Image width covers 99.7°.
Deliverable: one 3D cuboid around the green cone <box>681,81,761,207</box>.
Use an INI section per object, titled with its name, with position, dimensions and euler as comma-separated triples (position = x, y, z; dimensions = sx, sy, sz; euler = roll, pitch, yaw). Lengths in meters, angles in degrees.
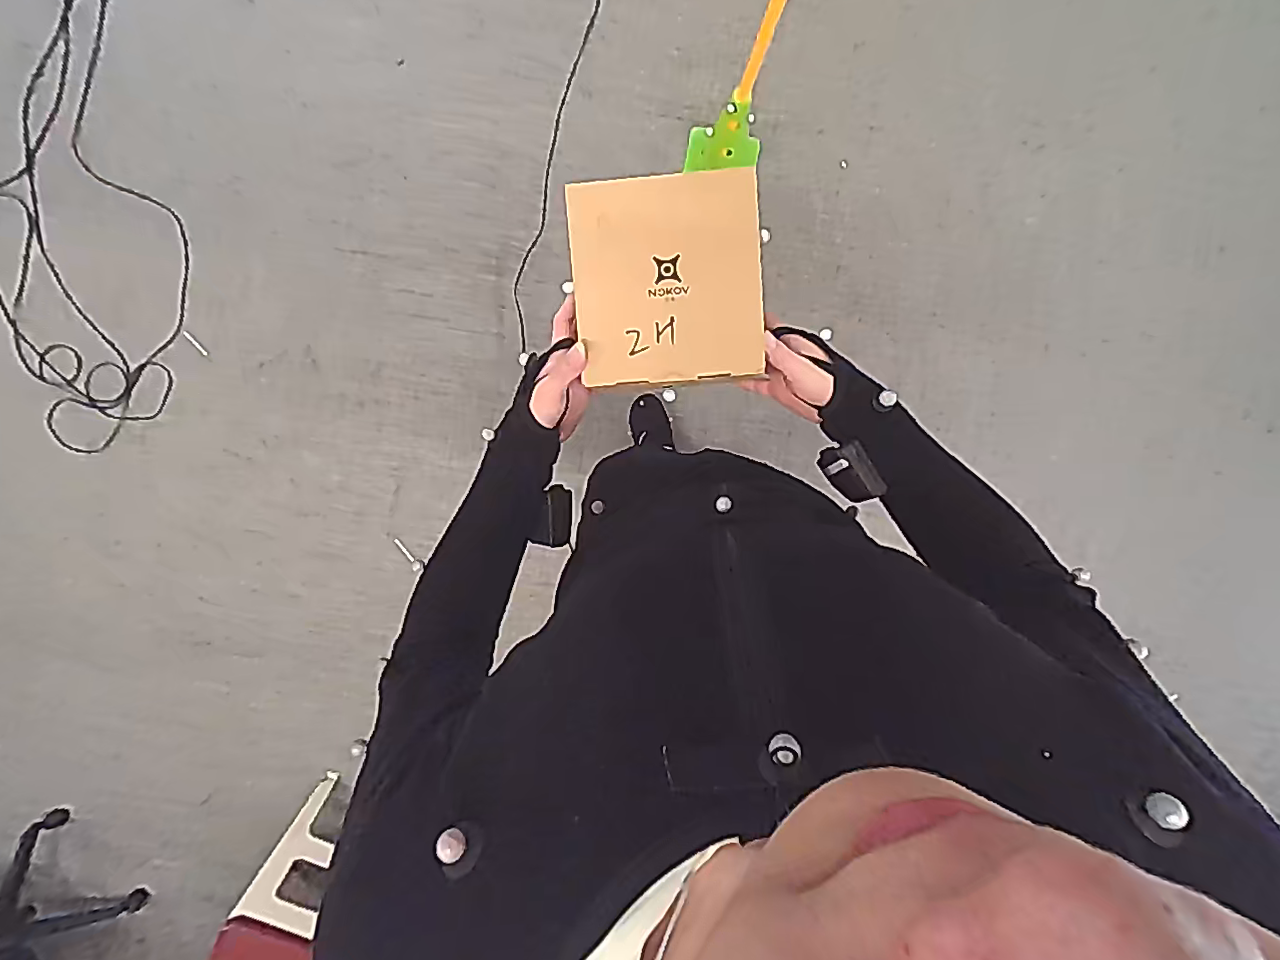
[green cone]
position = 0.226, -0.872, 1.358
dimensions = 0.202, 0.368, 0.200
euler = 11, 95, 0
